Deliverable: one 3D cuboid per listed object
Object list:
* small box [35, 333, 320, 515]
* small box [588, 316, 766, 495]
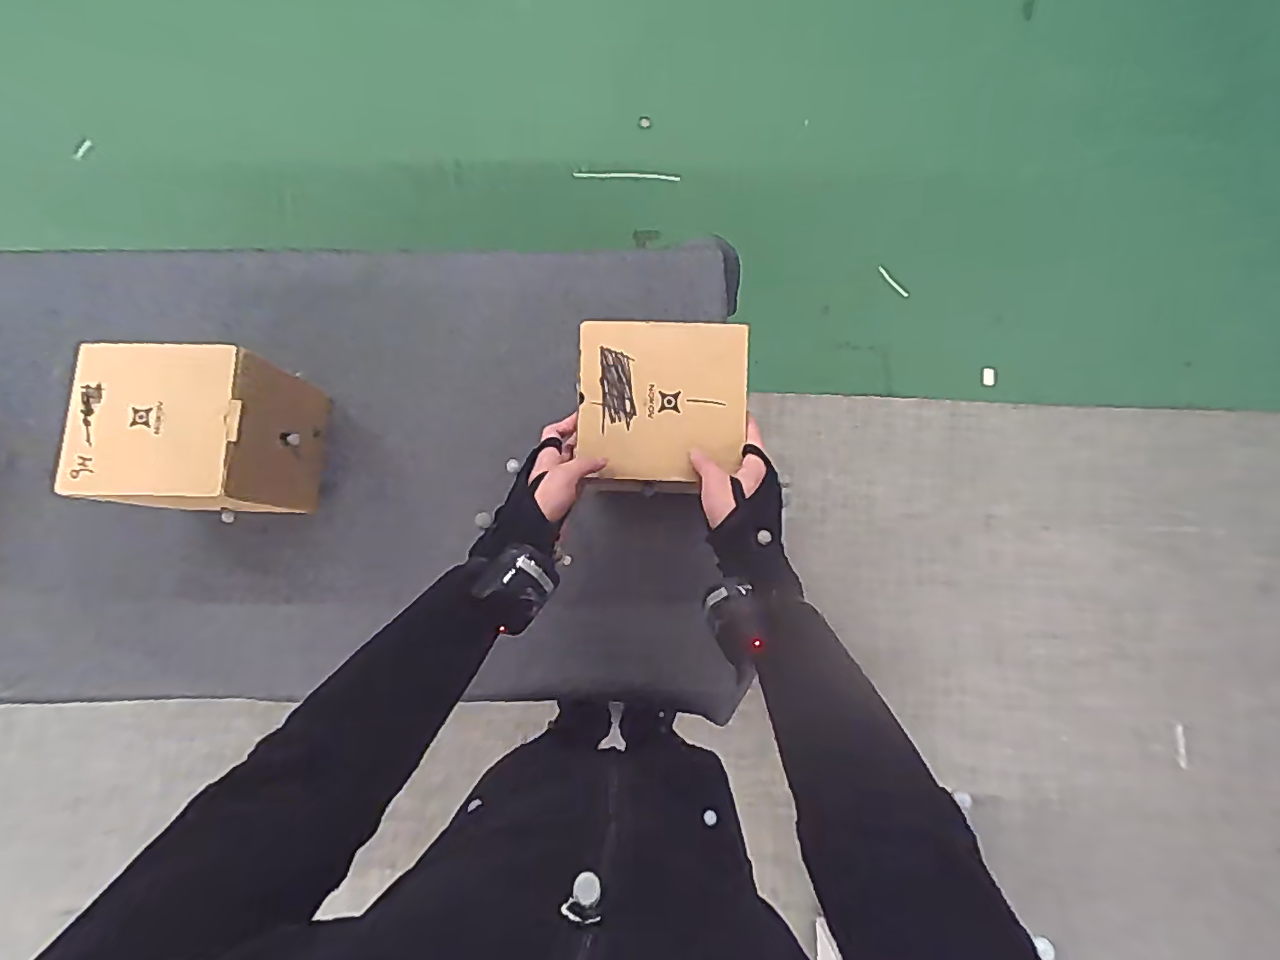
[{"bbox_3d":[-0.498,-0.052,0.616,0.179,0.176,0.168,2,80,-3],"label":"small box"},{"bbox_3d":[0.039,-0.073,0.621,0.179,0.176,0.168,2,83,0],"label":"small box"}]
